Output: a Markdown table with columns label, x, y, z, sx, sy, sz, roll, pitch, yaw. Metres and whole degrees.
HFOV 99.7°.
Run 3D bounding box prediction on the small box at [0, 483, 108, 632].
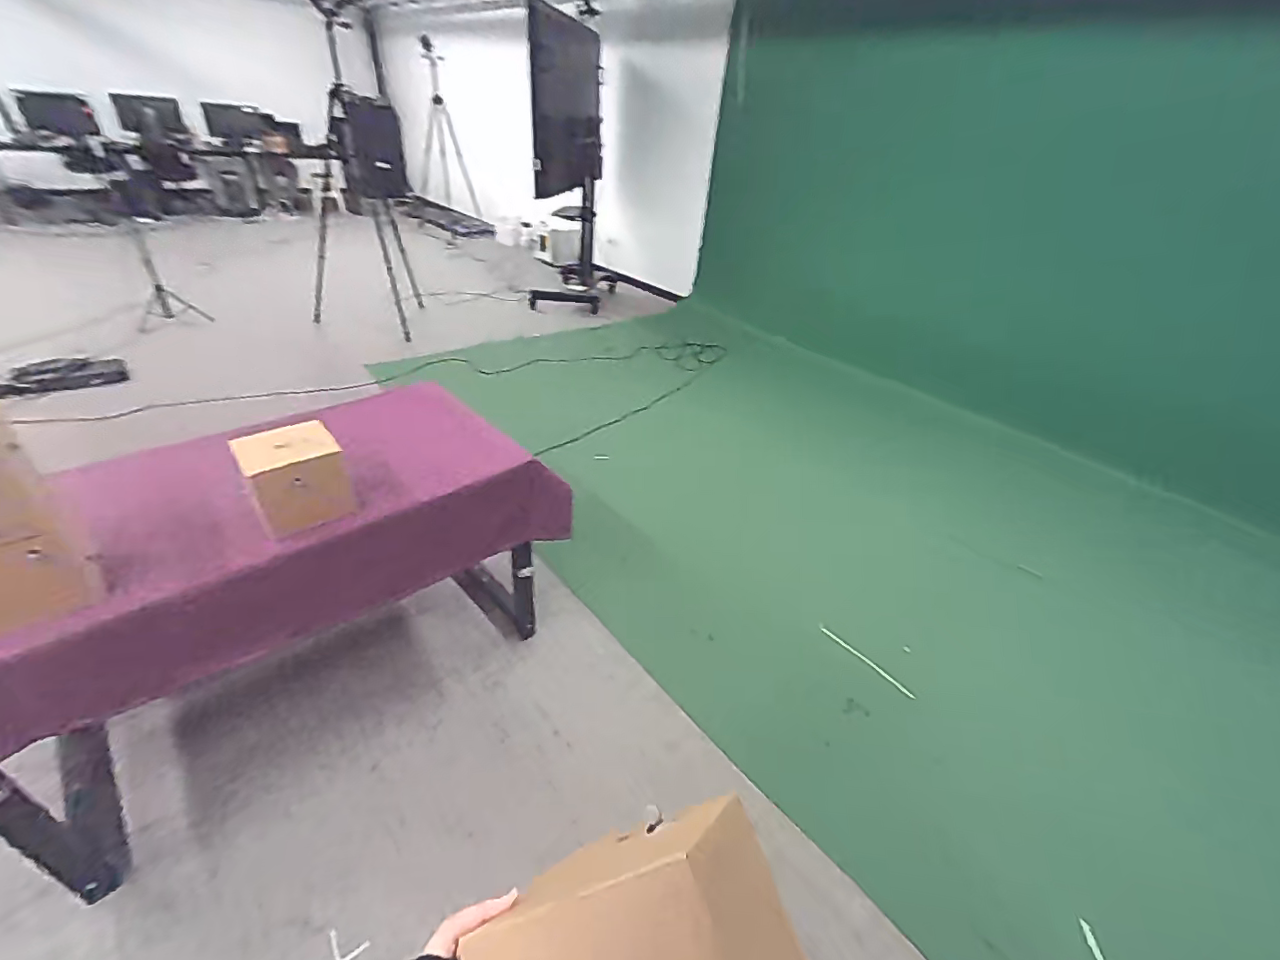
| label | x | y | z | sx | sy | sz | roll | pitch | yaw |
| --- | --- | --- | --- | --- | --- | --- | --- | --- | --- |
| small box | -1.071 | 0.136 | 0.926 | 0.179 | 0.176 | 0.168 | -24 | 44 | -38 |

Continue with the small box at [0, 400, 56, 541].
| label | x | y | z | sx | sy | sz | roll | pitch | yaw |
| --- | --- | --- | --- | --- | --- | --- | --- | --- | --- |
| small box | -1.057 | -0.001 | 0.837 | 0.168 | 0.176 | 0.179 | -24 | 42 | -38 |

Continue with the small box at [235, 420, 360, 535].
| label | x | y | z | sx | sy | sz | roll | pitch | yaw |
| --- | --- | --- | --- | --- | --- | --- | --- | --- | --- |
| small box | -0.745 | -0.007 | 1.185 | 0.179 | 0.176 | 0.168 | -23 | 44 | -36 |
